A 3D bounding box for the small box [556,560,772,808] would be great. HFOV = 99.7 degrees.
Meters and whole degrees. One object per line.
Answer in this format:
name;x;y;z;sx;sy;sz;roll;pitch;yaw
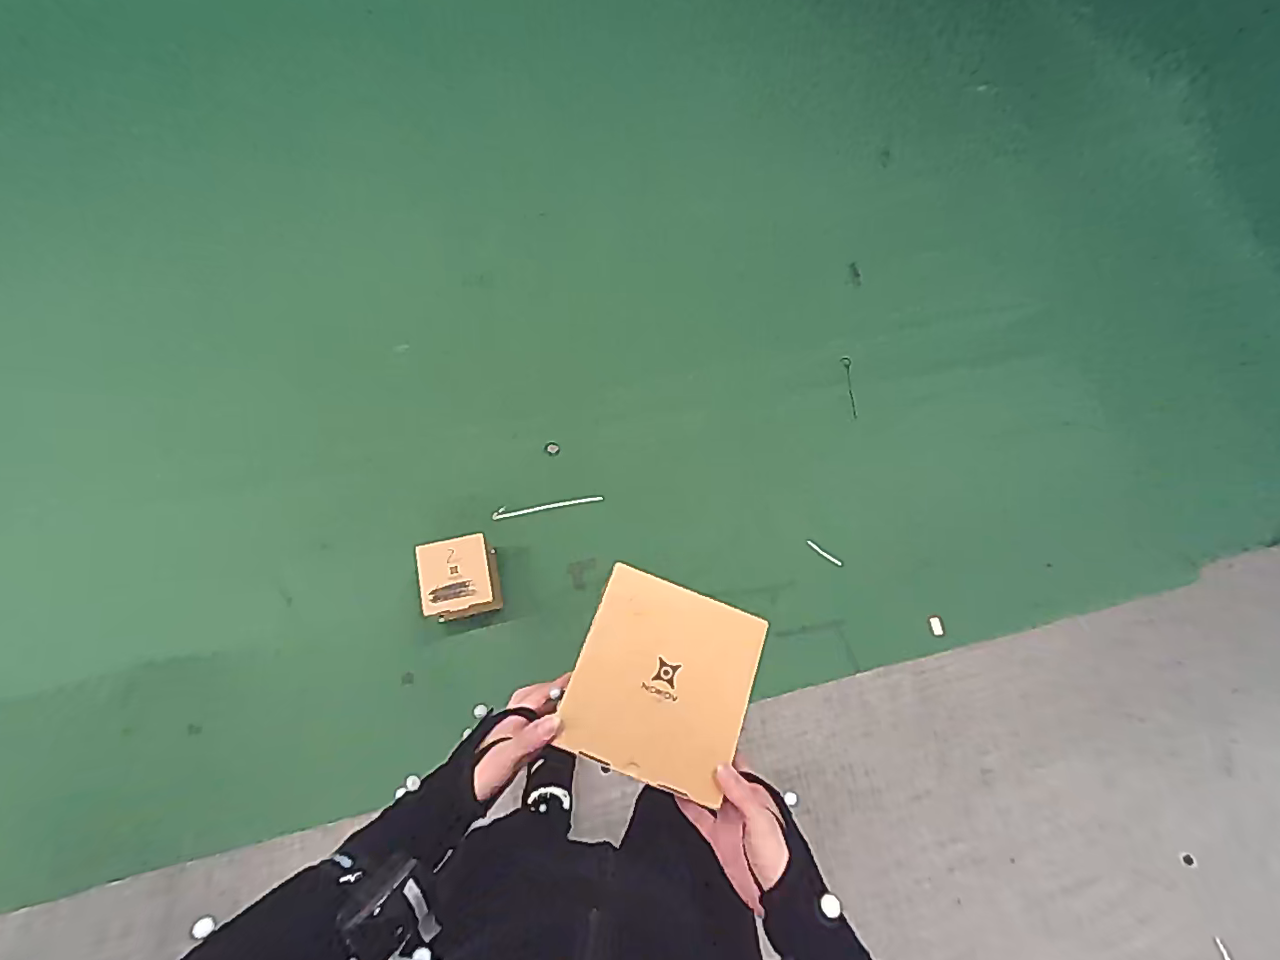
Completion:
small box;0.016;0.209;0.578;0.168;0.176;0.179;22;69;-1
